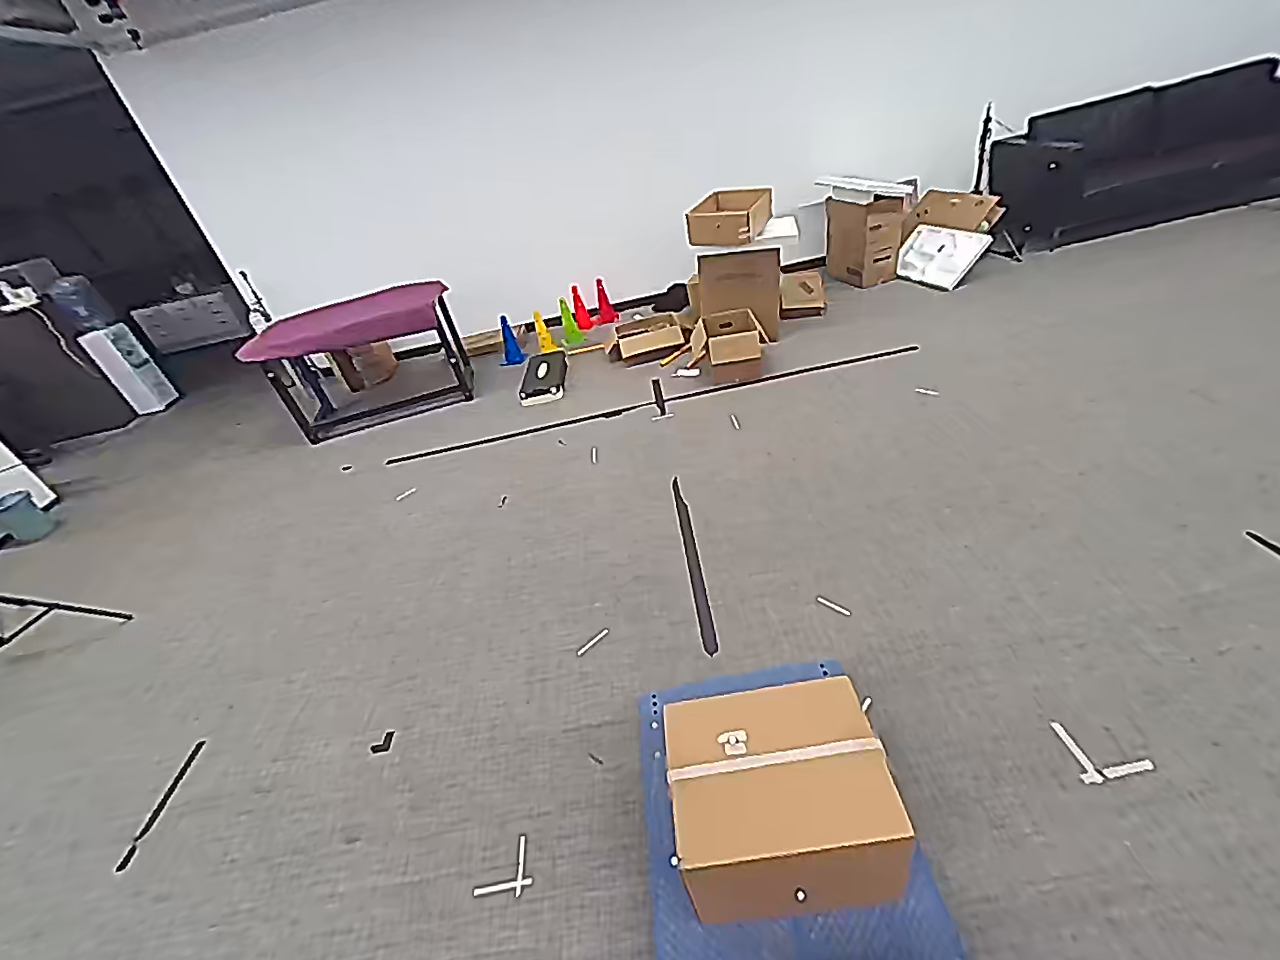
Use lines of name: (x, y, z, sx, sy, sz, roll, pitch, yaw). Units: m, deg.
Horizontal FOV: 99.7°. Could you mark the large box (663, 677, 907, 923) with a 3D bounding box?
large box: (0.285, 0.669, 1.136, 0.408, 0.320, 0.320, -12, 34, 4)
